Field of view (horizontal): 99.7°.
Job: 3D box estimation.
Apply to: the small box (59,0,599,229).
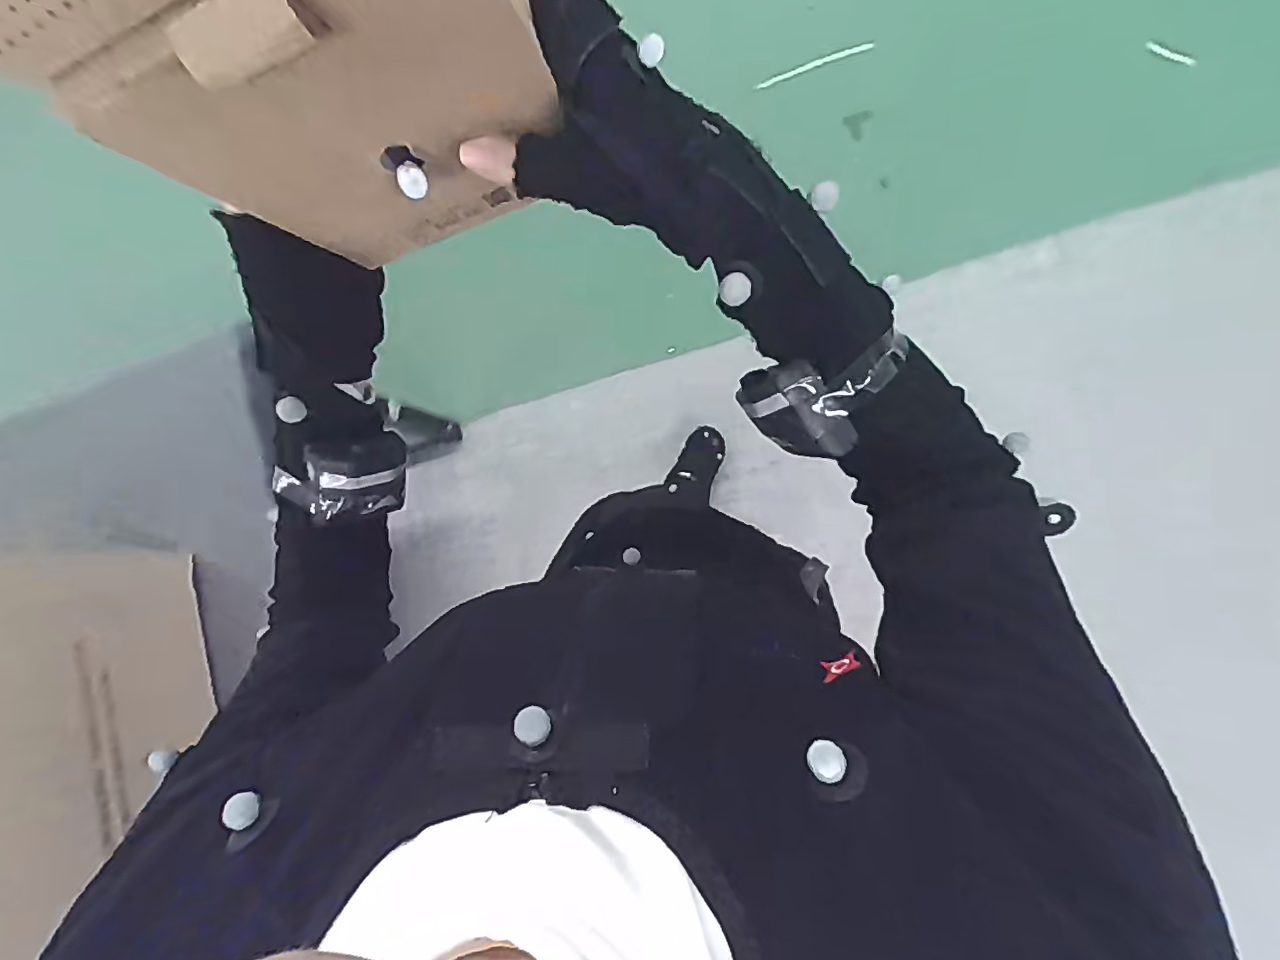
[{"bbox_3d":[-0.131,-0.244,0.255,0.168,0.176,0.179,-13,91,12],"label":"small box"}]
